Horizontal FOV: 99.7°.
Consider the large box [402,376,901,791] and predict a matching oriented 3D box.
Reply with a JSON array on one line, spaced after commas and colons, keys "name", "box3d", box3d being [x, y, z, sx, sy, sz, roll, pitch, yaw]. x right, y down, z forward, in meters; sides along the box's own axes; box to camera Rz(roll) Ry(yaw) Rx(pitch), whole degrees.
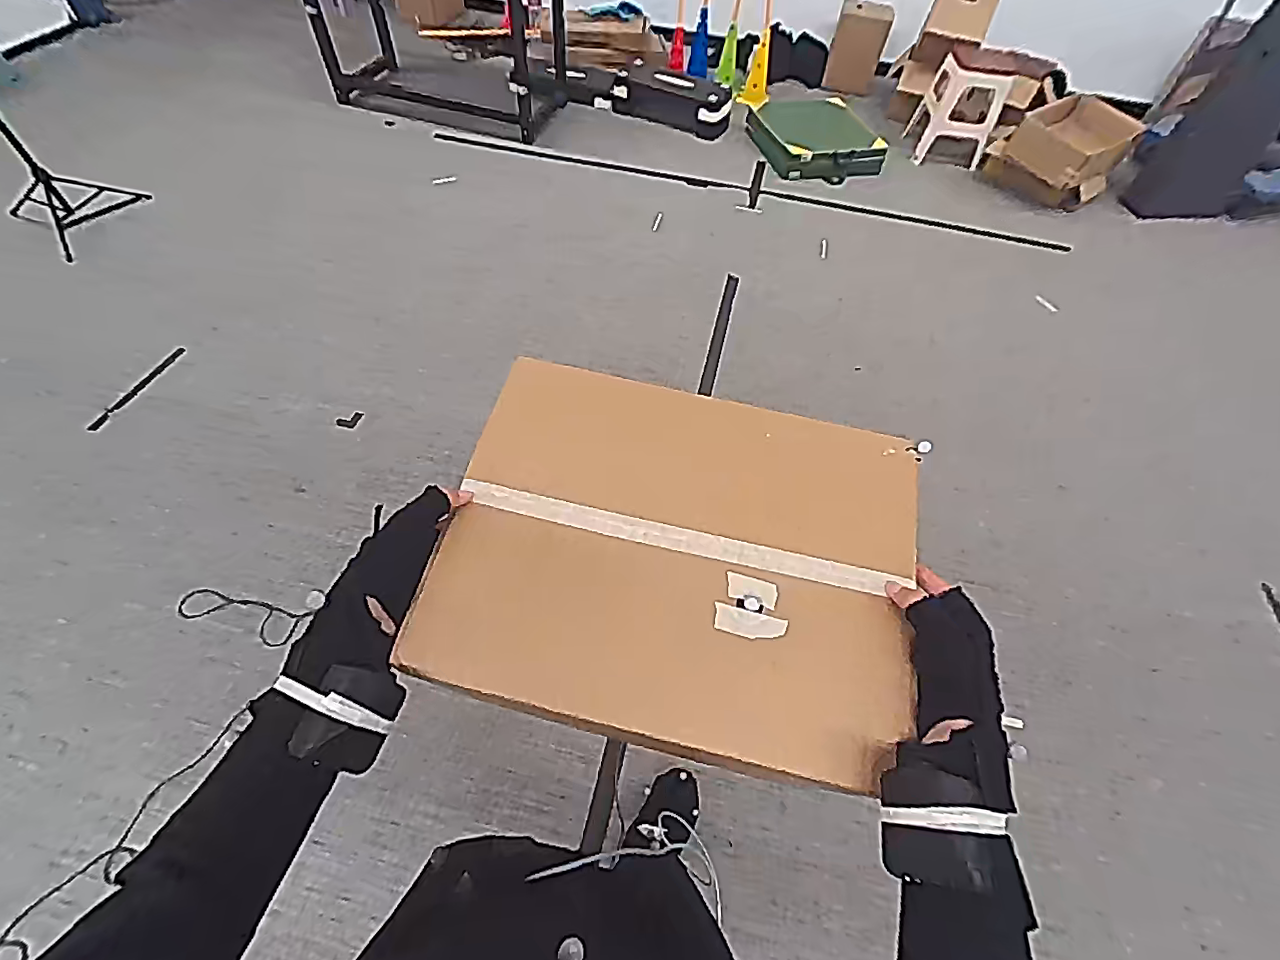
[{"name": "large box", "box3d": [0.025, 0.129, 0.616, 0.408, 0.320, 0.320, 13, 64, 3]}]
